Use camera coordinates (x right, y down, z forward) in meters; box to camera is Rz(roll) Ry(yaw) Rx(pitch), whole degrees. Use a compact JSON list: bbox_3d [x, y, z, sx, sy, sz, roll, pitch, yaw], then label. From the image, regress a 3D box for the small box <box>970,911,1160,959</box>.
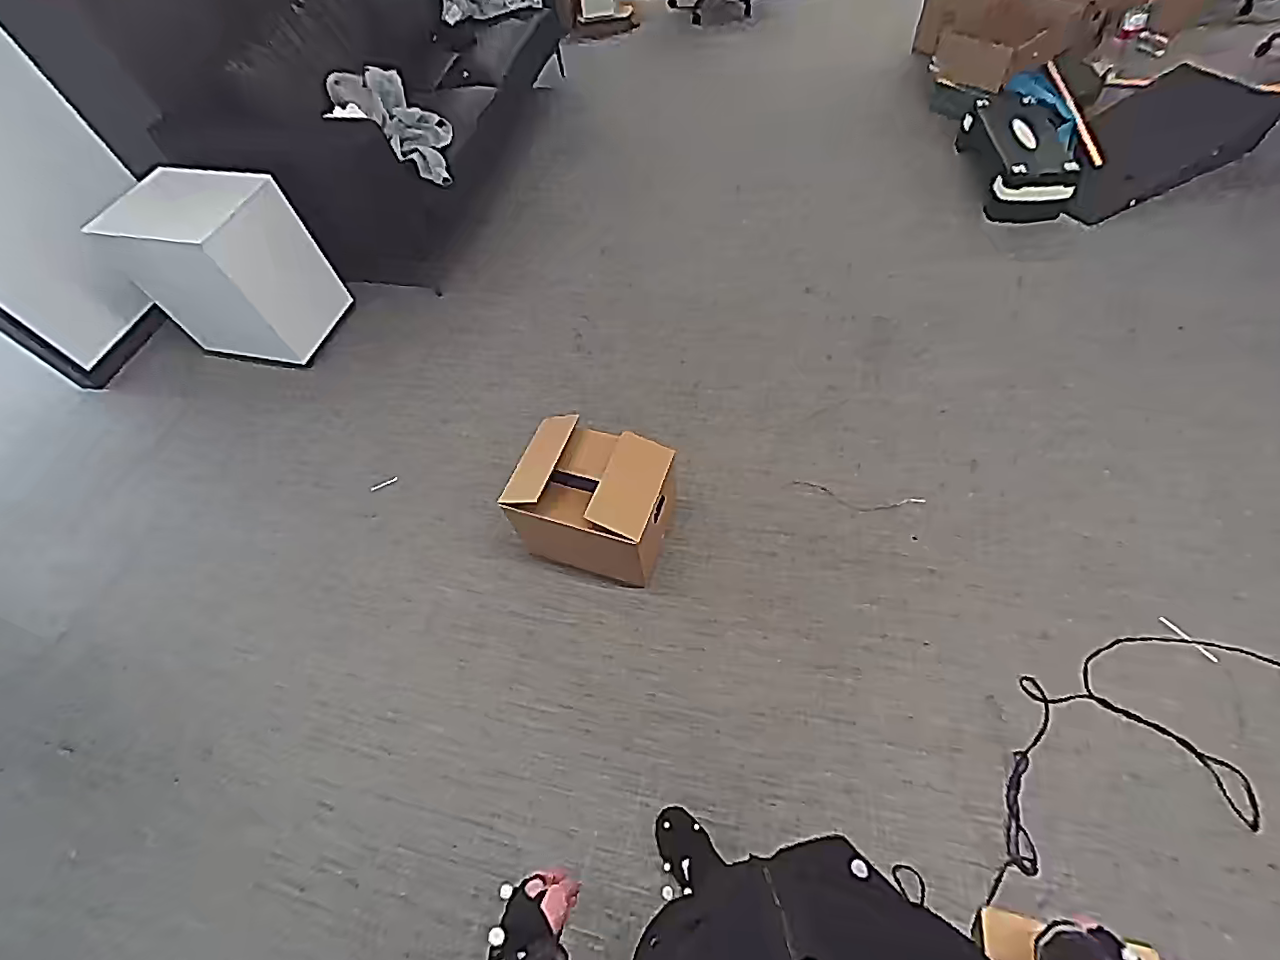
[{"bbox_3d":[0.484,0.624,0.605,0.168,0.179,0.176,-1,42,23],"label":"small box"}]
